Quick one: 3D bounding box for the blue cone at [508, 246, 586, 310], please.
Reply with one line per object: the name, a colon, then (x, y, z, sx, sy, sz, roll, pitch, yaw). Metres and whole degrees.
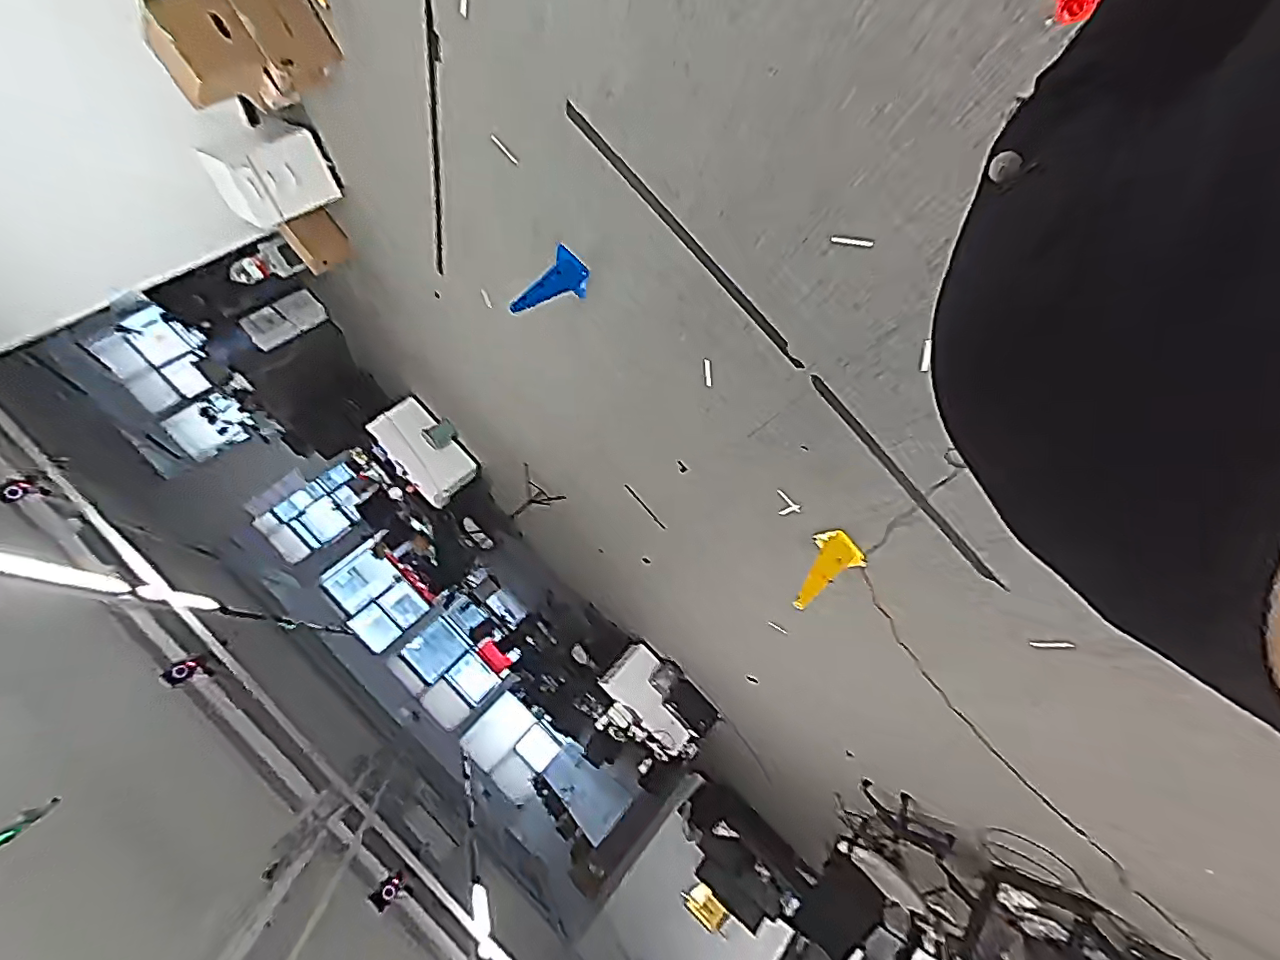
blue cone: (-0.434, -0.855, 2.407, 0.193, 0.380, 0.192, 45, 155, 4)
